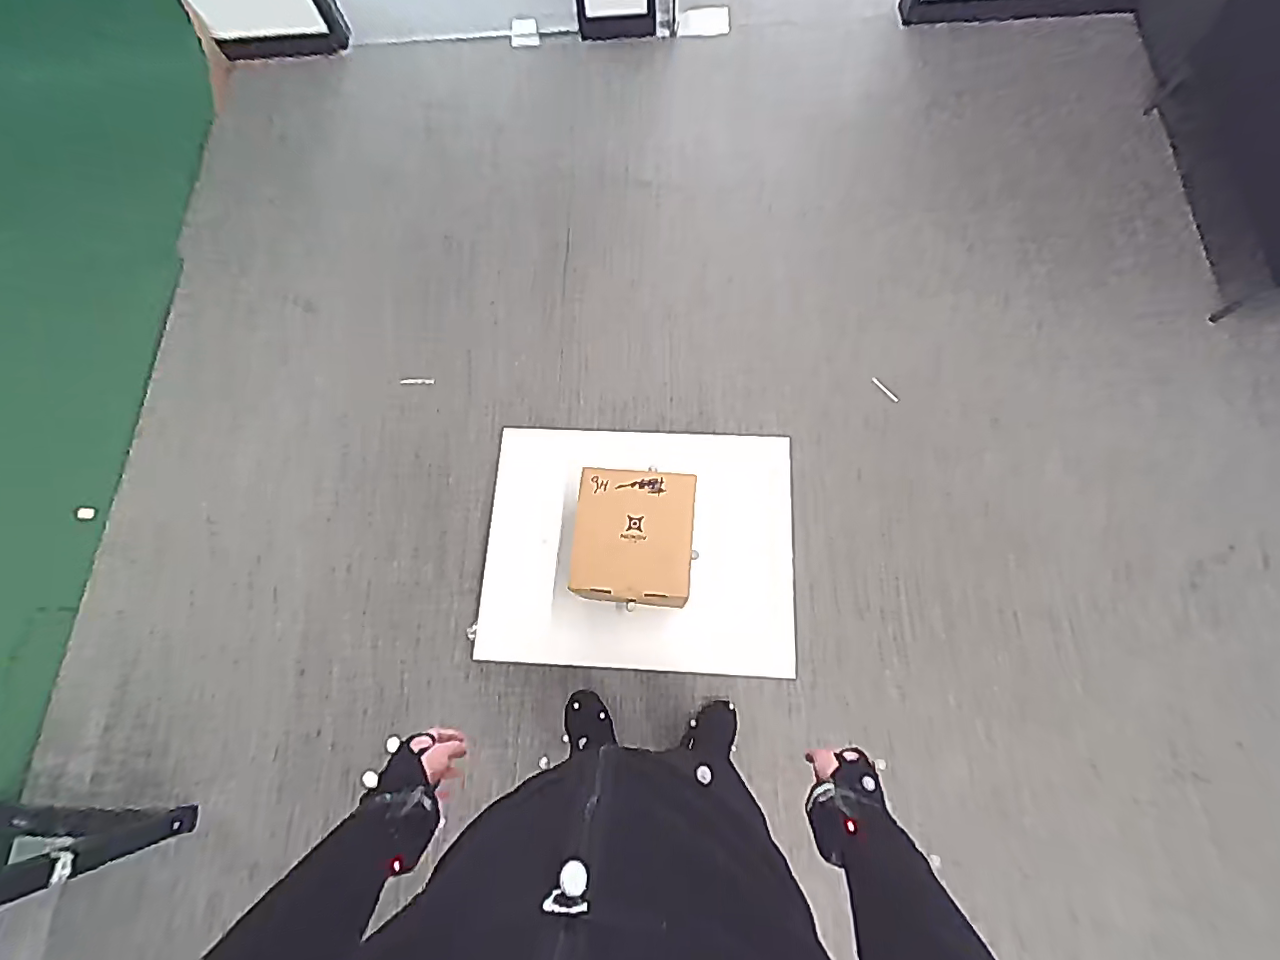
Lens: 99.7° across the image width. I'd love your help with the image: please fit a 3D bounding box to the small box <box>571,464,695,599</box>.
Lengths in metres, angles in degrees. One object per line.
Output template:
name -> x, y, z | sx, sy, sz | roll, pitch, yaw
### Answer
small box -> -0.003, 0.086, 0.827 | 0.168, 0.176, 0.179 | 2, 73, 4
